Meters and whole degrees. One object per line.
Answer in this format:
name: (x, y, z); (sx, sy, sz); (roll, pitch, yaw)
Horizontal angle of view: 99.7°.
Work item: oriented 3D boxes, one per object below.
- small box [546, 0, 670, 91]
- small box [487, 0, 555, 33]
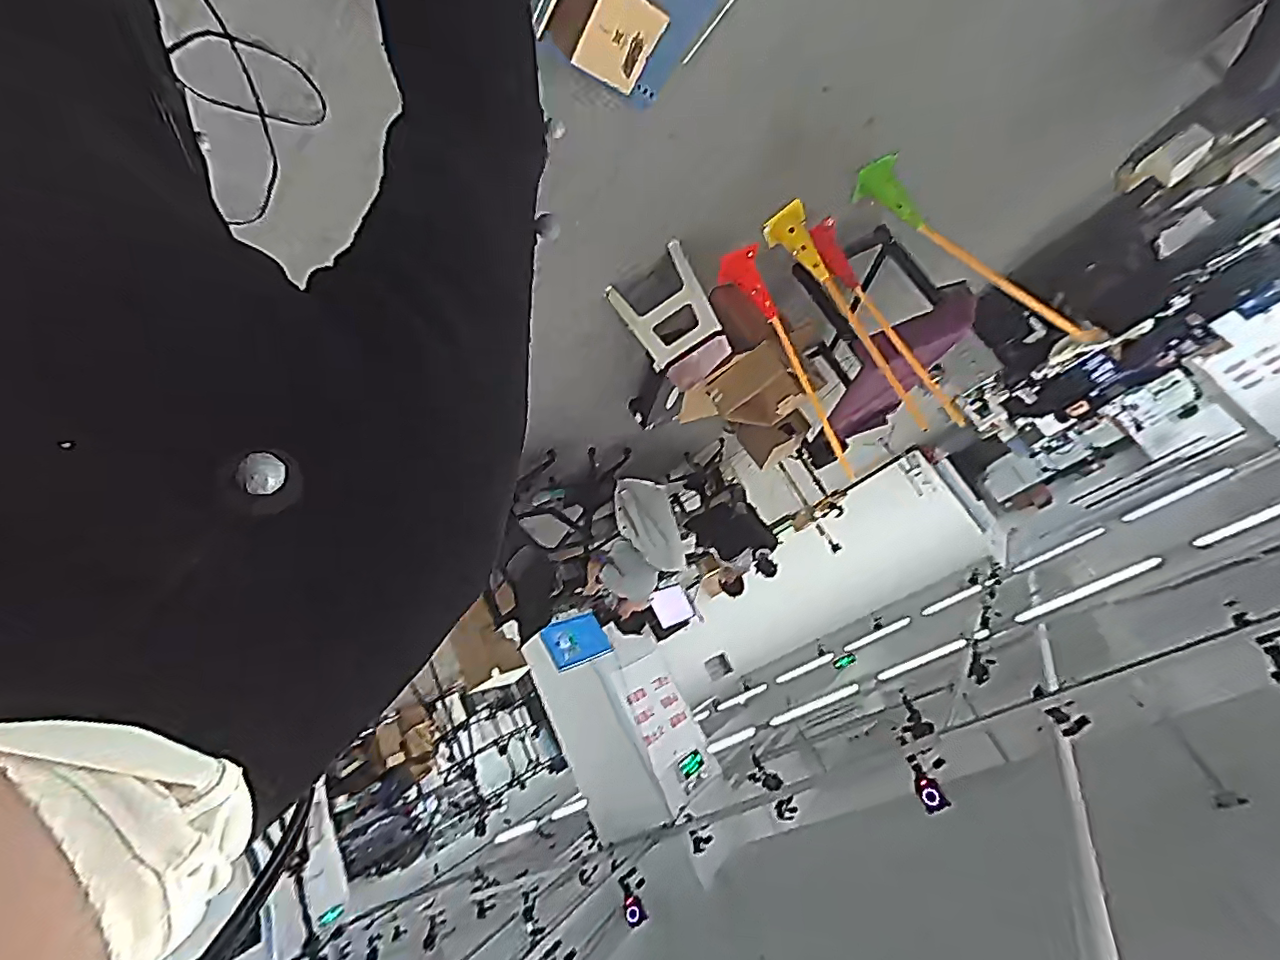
small box: (-0.076, -0.991, 1.152); (0.179, 0.176, 0.168); (-8, 152, -45)
small box: (-0.242, -0.973, 0.967); (0.179, 0.176, 0.168); (-6, 151, -48)
